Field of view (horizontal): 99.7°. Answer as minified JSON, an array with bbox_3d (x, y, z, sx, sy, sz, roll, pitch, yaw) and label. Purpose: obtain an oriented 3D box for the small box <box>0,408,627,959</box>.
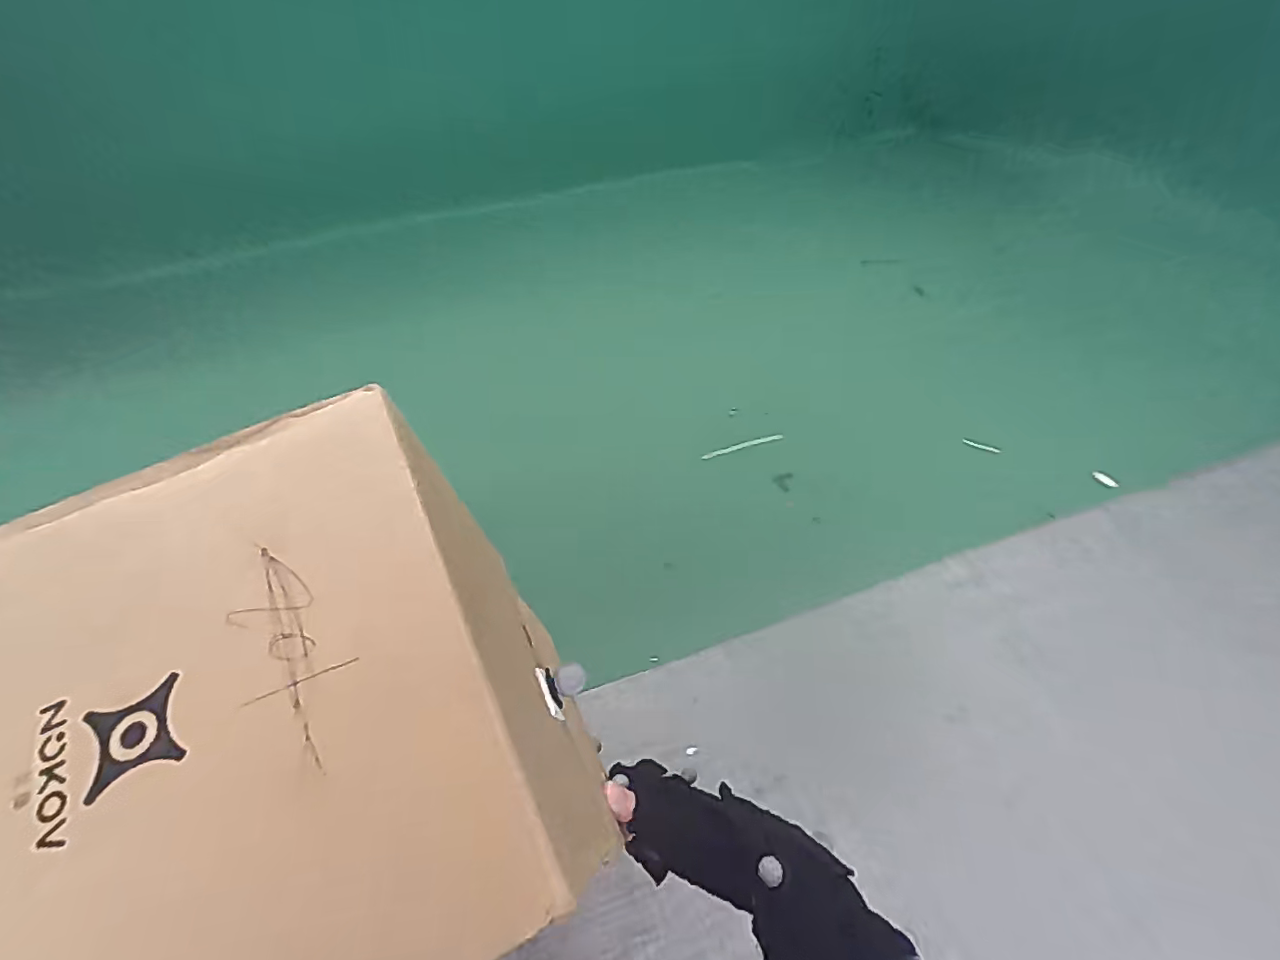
[{"bbox_3d":[-0.116,0.109,0.212,0.179,0.176,0.168,-25,64,-12],"label":"small box"}]
